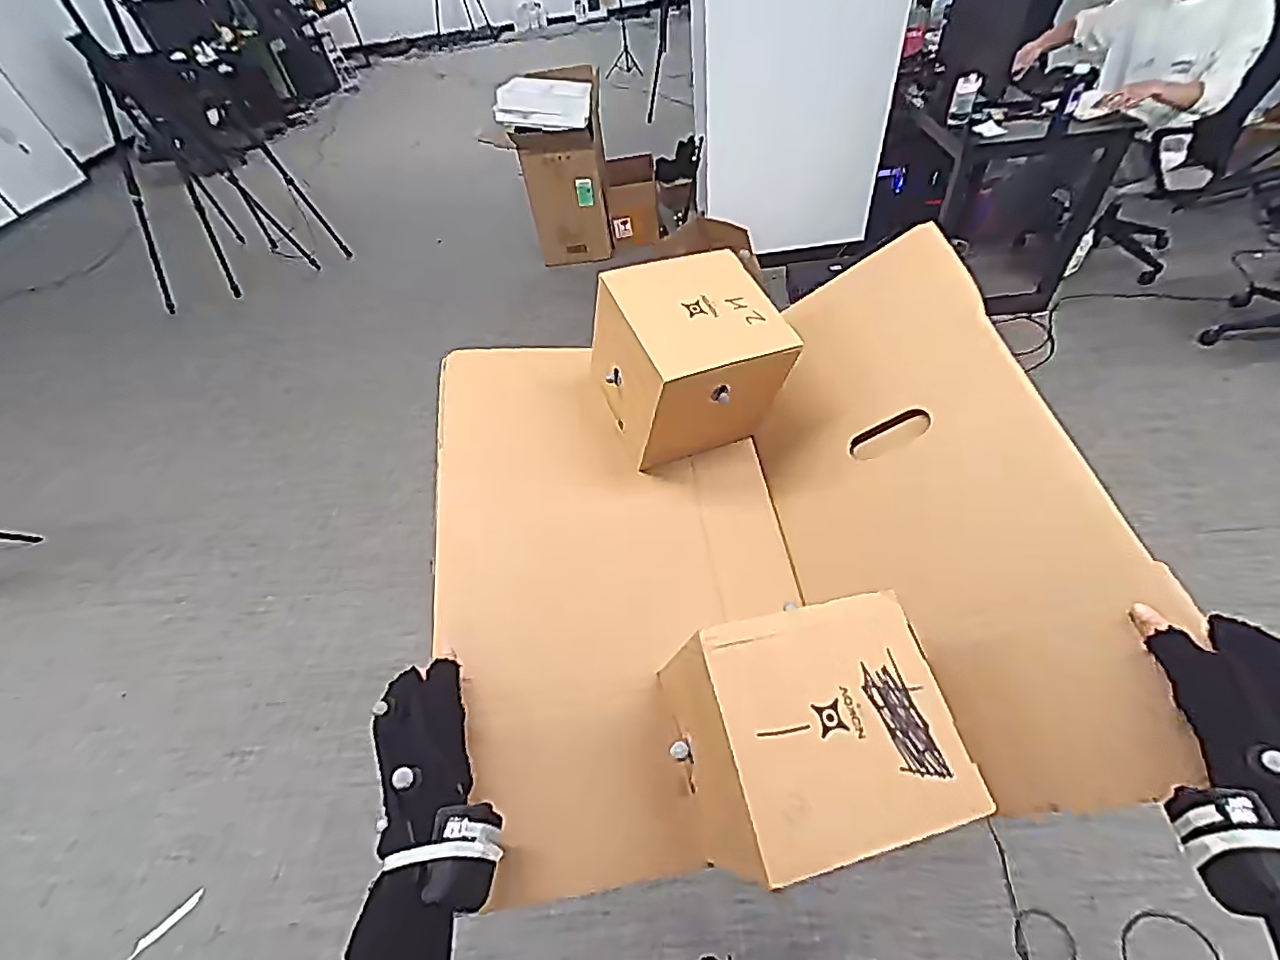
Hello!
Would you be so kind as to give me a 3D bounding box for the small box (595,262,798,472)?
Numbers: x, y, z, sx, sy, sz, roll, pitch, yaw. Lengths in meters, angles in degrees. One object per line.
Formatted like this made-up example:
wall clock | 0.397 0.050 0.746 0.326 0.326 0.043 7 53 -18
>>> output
small box | 0.052 -0.132 0.658 0.179 0.176 0.168 -17 64 -20
